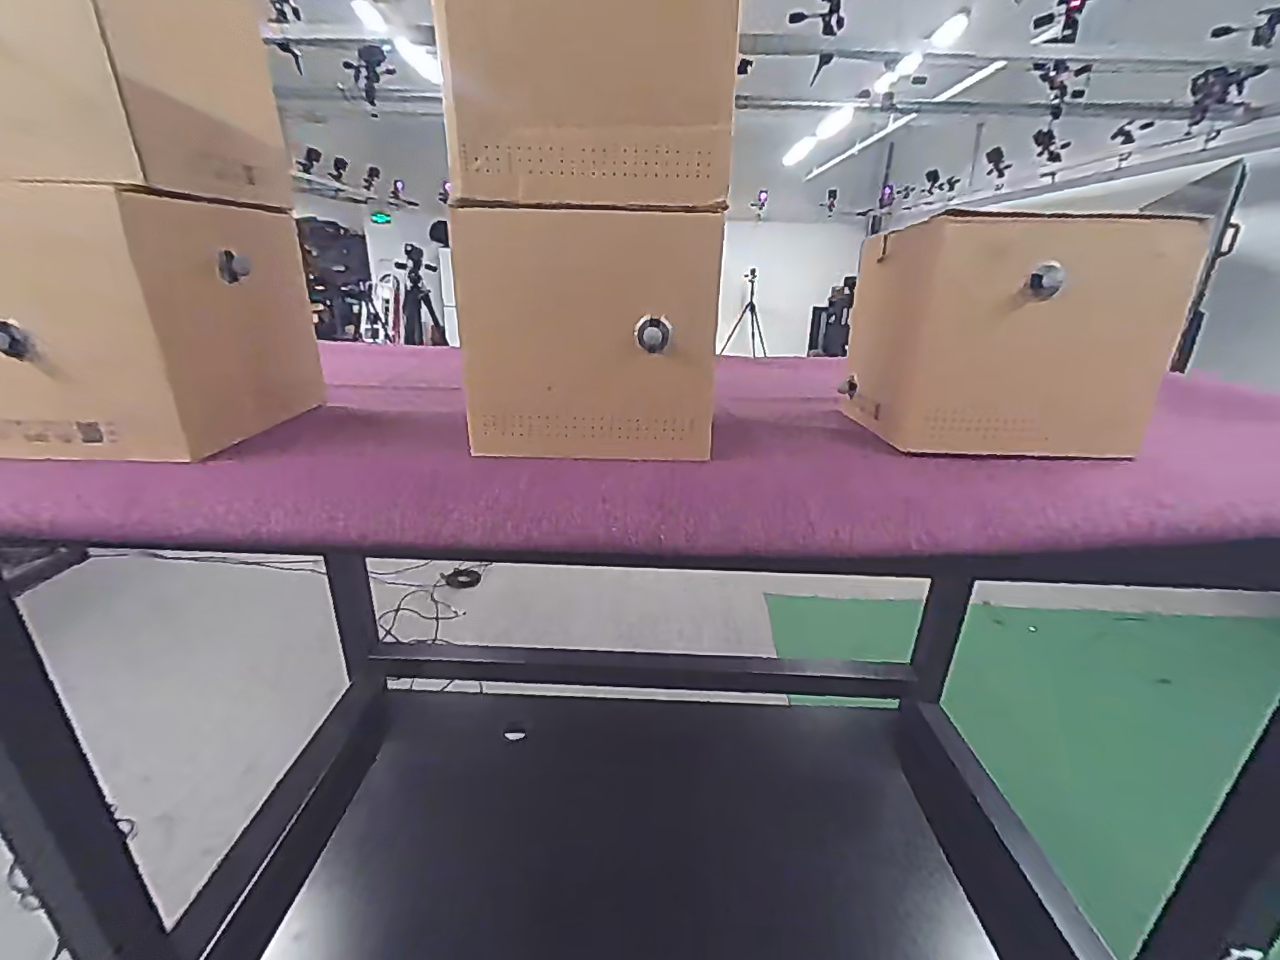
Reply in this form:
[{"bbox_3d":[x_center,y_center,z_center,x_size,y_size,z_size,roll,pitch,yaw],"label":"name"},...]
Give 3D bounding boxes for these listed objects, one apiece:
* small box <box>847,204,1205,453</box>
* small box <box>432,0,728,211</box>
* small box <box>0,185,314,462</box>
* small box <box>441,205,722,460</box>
[{"bbox_3d":[0.286,-0.123,0.453,0.179,0.176,0.168,2,19,2],"label":"small box"},{"bbox_3d":[-0.037,-0.271,0.377,0.179,0.176,0.168,0,21,-2],"label":"small box"},{"bbox_3d":[-0.379,-0.118,0.406,0.168,0.176,0.179,2,22,-2],"label":"small box"},{"bbox_3d":[-0.037,-0.117,0.433,0.179,0.176,0.168,0,21,0],"label":"small box"}]
